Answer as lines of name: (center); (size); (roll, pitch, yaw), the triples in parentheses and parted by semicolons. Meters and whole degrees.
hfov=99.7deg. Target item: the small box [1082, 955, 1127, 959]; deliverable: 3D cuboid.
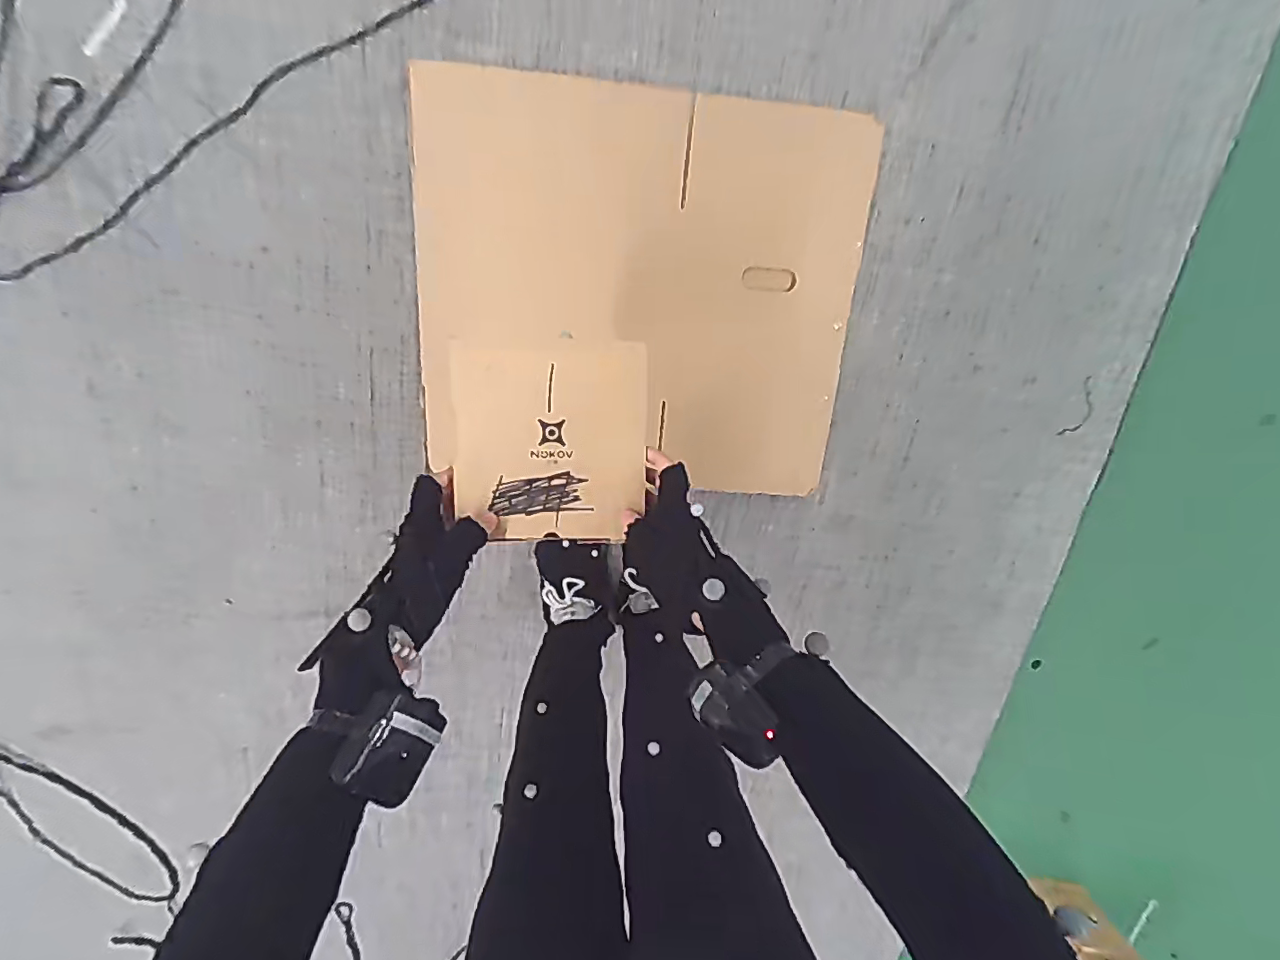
small box: (1.055, 1.177, 1.170); (0.168, 0.176, 0.179); (10, 108, -7)

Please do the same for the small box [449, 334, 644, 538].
small box: (-0.085, -0.048, 0.545); (0.168, 0.176, 0.179); (0, 99, -5)
